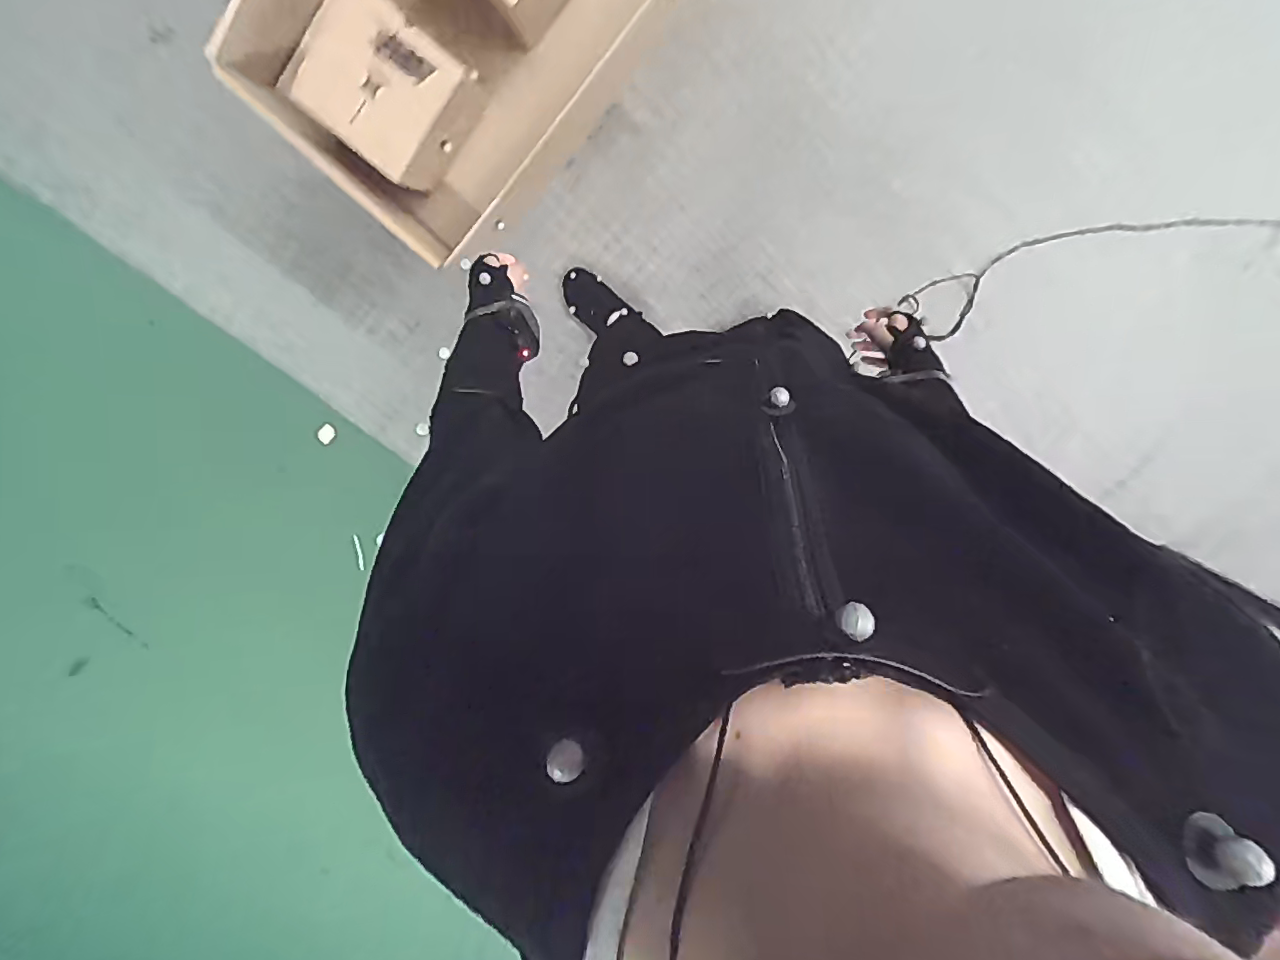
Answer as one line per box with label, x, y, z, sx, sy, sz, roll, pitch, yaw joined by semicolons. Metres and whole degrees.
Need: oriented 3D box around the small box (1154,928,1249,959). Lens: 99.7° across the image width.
small box;1.362;1.188;1.254;0.168;0.176;0.179;-38;109;13
